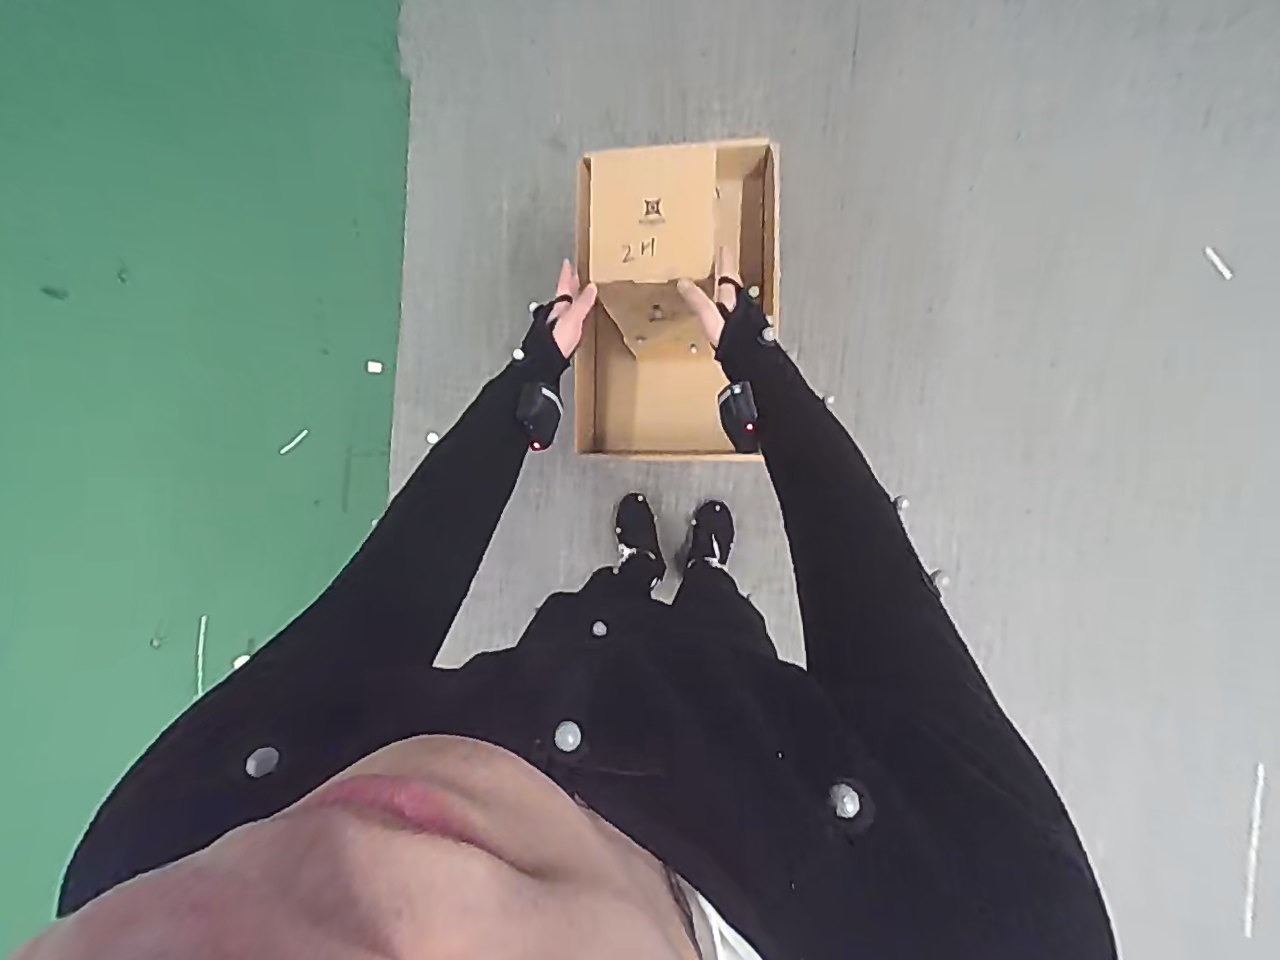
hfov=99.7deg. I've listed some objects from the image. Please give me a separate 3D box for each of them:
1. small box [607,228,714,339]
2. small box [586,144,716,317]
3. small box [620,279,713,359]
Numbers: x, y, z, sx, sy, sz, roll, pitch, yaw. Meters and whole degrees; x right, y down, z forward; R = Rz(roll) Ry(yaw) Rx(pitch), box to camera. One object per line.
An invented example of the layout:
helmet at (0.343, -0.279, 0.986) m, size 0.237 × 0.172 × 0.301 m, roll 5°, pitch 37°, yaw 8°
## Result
small box at (0.042, -0.350, 0.941) m, size 0.168 × 0.176 × 0.179 m, roll 3°, pitch 90°, yaw 6°
small box at (0.022, -0.346, 0.778) m, size 0.168 × 0.176 × 0.179 m, roll 1°, pitch 91°, yaw 7°
small box at (0.059, -0.346, 1.105) m, size 0.179 × 0.176 × 0.168 m, roll 1°, pitch 90°, yaw 6°
